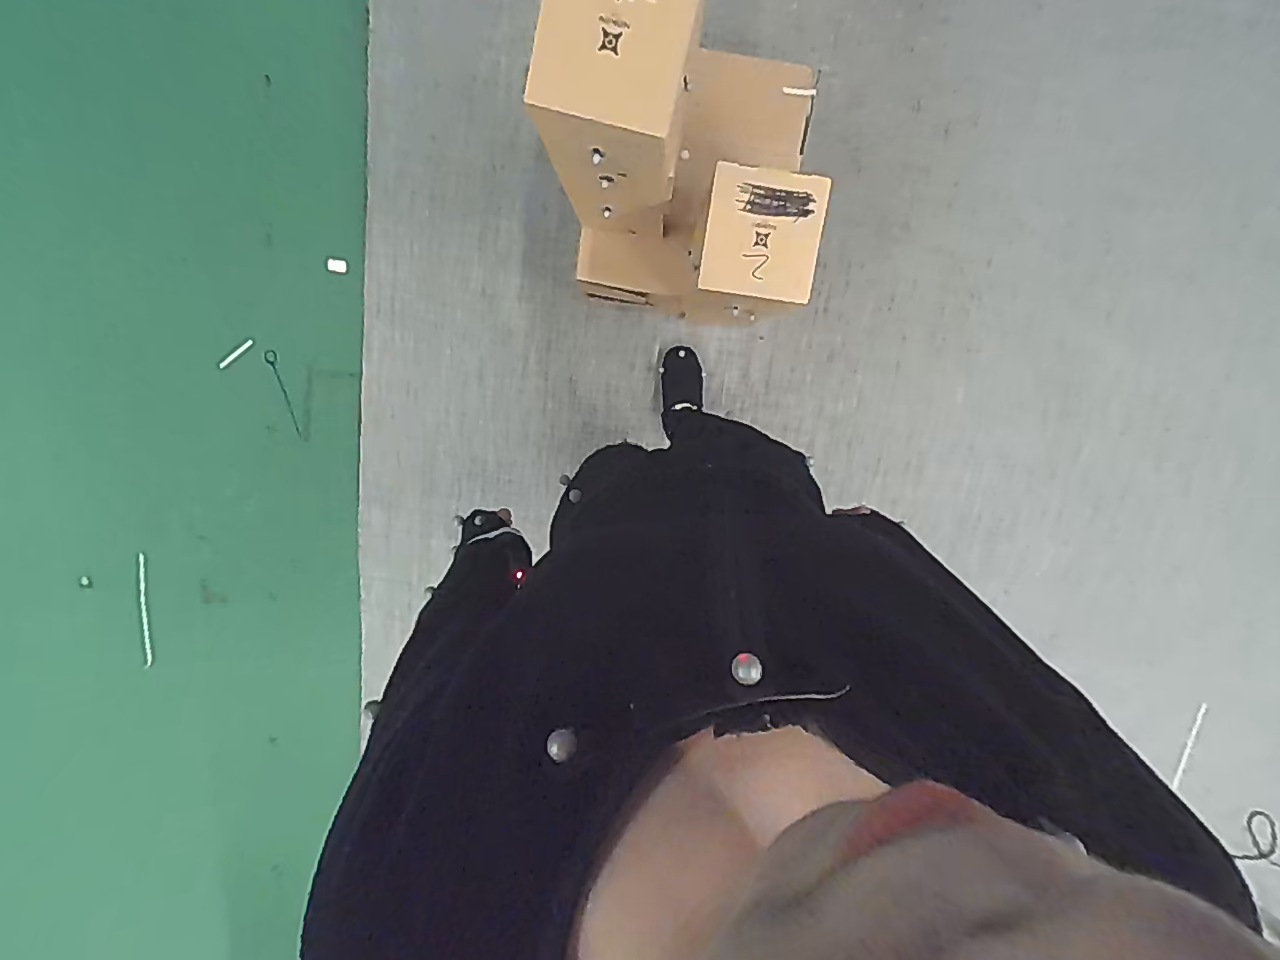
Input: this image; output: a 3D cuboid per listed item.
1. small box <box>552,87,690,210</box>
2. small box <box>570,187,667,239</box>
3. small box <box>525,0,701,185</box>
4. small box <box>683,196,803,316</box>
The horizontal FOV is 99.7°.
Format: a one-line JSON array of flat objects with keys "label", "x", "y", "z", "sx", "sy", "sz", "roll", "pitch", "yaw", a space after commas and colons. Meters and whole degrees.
[{"label": "small box", "x": -0.022, "y": -0.528, "z": 0.819, "sx": 0.179, "sy": 0.176, "sz": 0.168, "roll": 8, "pitch": 101, "yaw": 3}, {"label": "small box", "x": -0.025, "y": -0.563, "z": 0.983, "sx": 0.168, "sy": 0.176, "sz": 0.179, "roll": 9, "pitch": 100, "yaw": 0}, {"label": "small box", "x": -0.026, "y": -0.491, "z": 0.660, "sx": 0.168, "sy": 0.176, "sz": 0.179, "roll": 14, "pitch": 101, "yaw": -1}, {"label": "small box", "x": 0.181, "y": -0.406, "z": 1.007, "sx": 0.179, "sy": 0.176, "sz": 0.168, "roll": 7, "pitch": 100, "yaw": 0}]
